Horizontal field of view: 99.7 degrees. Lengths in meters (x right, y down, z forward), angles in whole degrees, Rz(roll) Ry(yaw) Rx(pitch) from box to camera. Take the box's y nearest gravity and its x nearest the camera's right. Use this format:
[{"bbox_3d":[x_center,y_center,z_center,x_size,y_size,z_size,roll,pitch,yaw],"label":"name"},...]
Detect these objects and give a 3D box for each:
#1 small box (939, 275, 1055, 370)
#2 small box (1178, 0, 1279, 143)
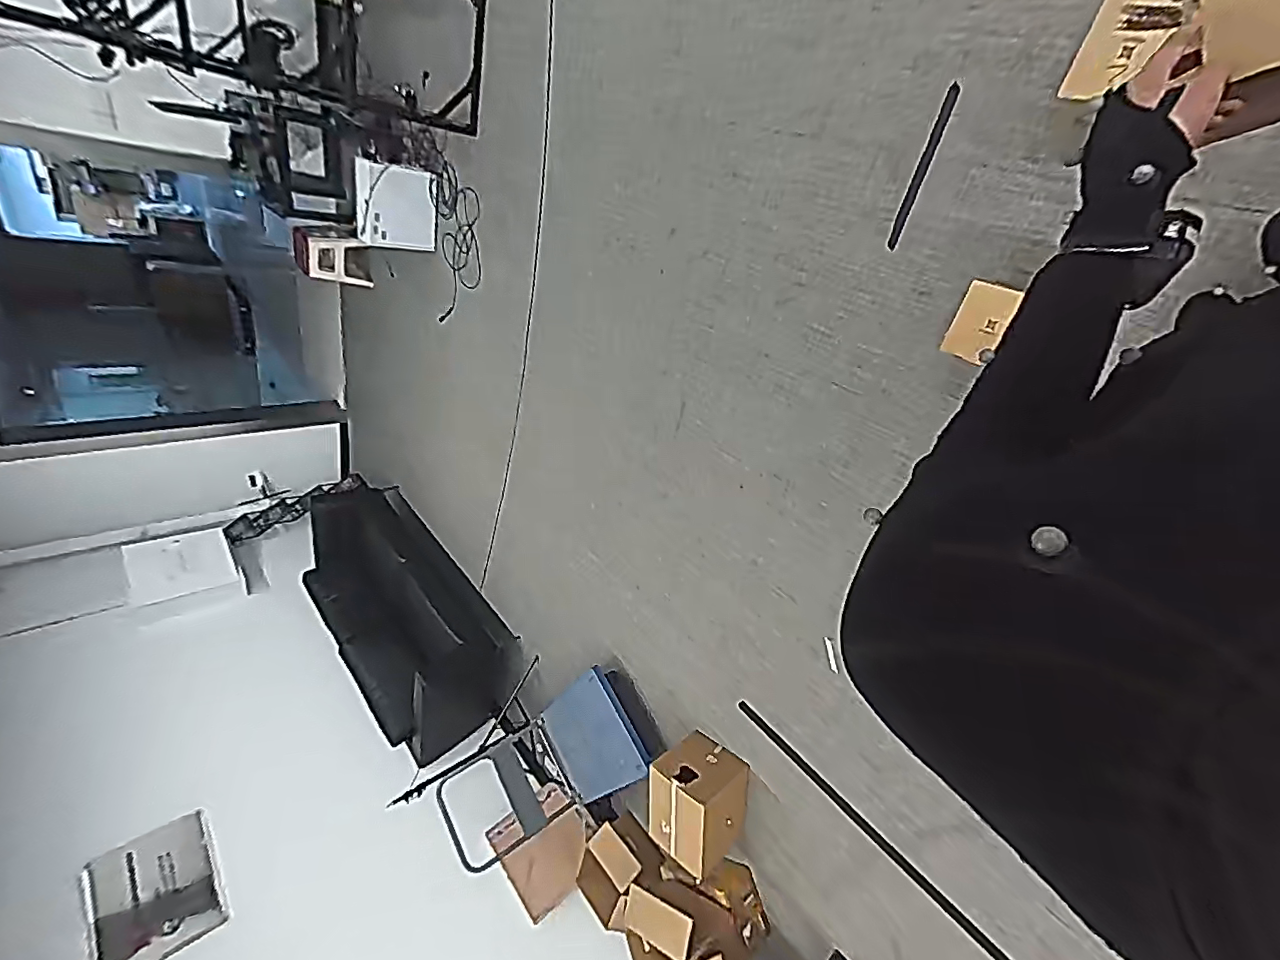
[{"bbox_3d":[0.874,-0.386,1.319,0.168,0.176,0.179,36,127,34],"label":"small box"},{"bbox_3d":[0.549,-0.411,0.429,0.168,0.176,0.179,-2,99,43],"label":"small box"}]
